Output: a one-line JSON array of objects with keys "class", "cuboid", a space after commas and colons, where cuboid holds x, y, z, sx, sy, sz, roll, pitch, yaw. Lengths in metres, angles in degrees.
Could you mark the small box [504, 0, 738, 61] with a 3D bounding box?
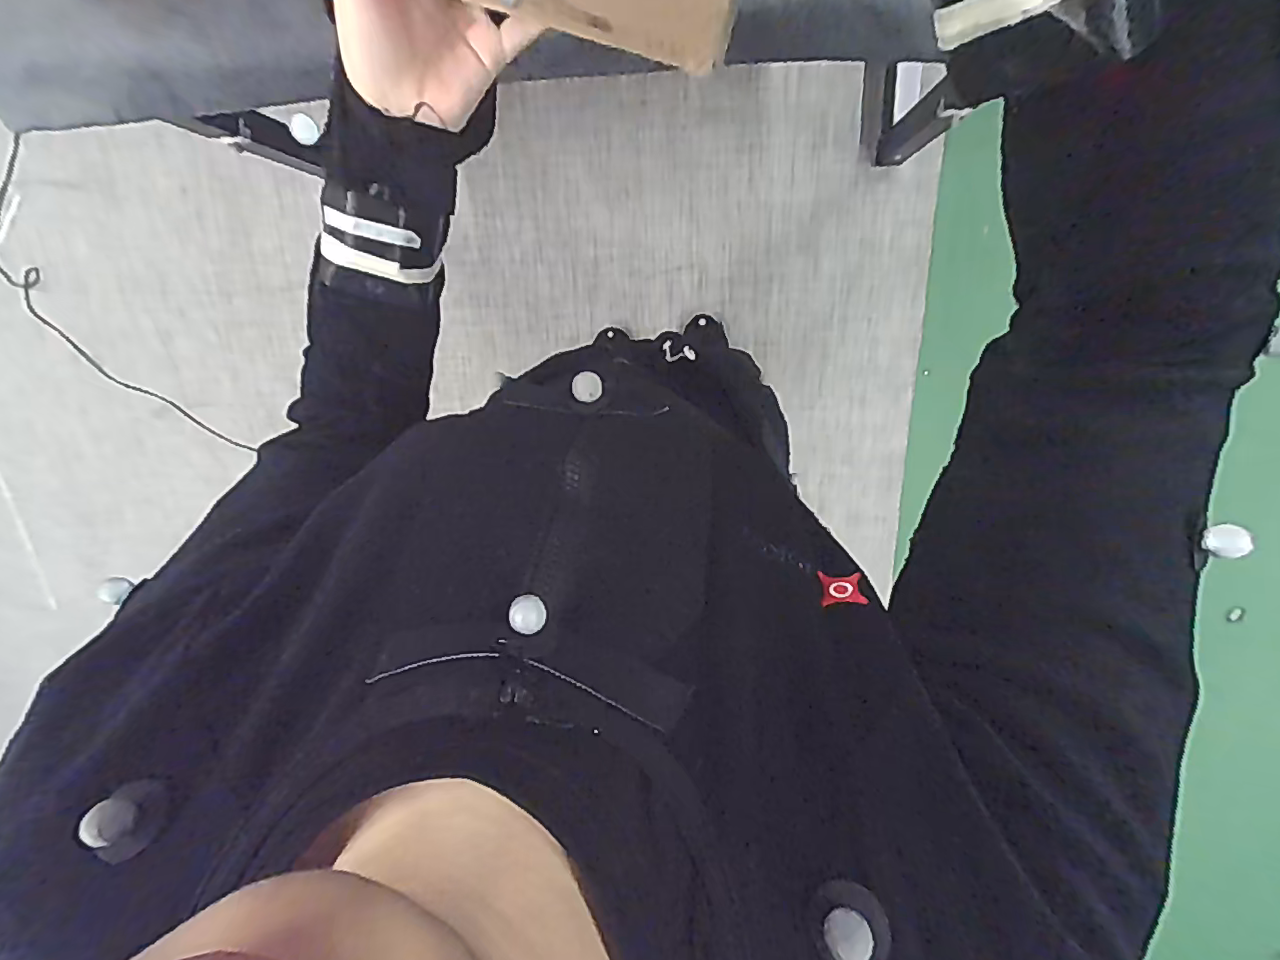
[{"class": "small box", "cuboid": [-0.020, -0.285, 0.177, 0.168, 0.176, 0.179, 17, 115, -1]}]
